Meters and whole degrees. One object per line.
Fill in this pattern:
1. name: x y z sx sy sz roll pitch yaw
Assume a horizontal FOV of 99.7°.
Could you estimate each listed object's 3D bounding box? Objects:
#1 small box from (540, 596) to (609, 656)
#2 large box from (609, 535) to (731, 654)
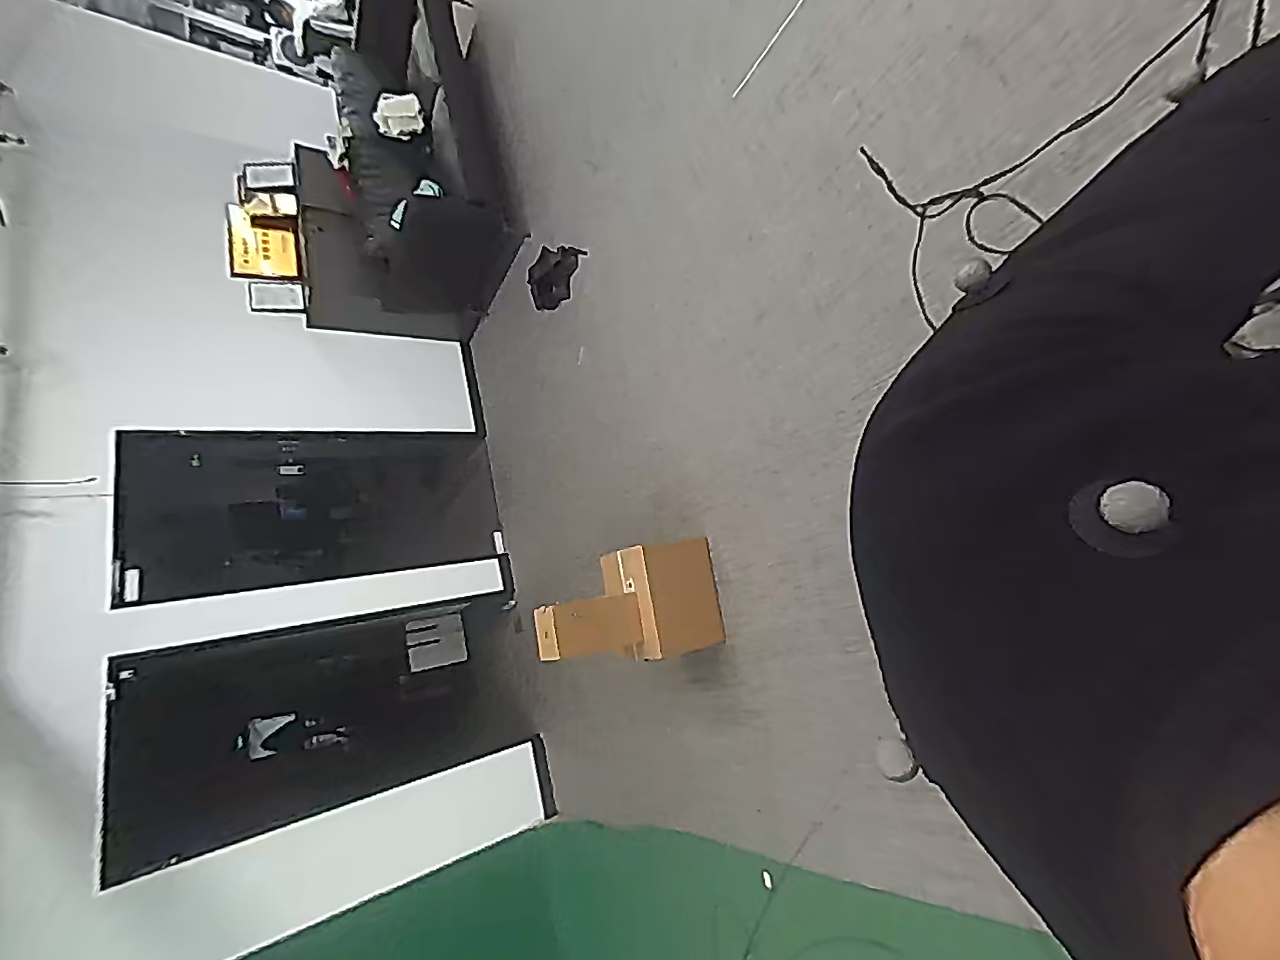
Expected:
1. small box: -0.226 0.503 1.871 0.168 0.176 0.179 -30 68 54
2. large box: 0.110 0.443 2.099 0.320 0.320 0.408 -25 71 53
